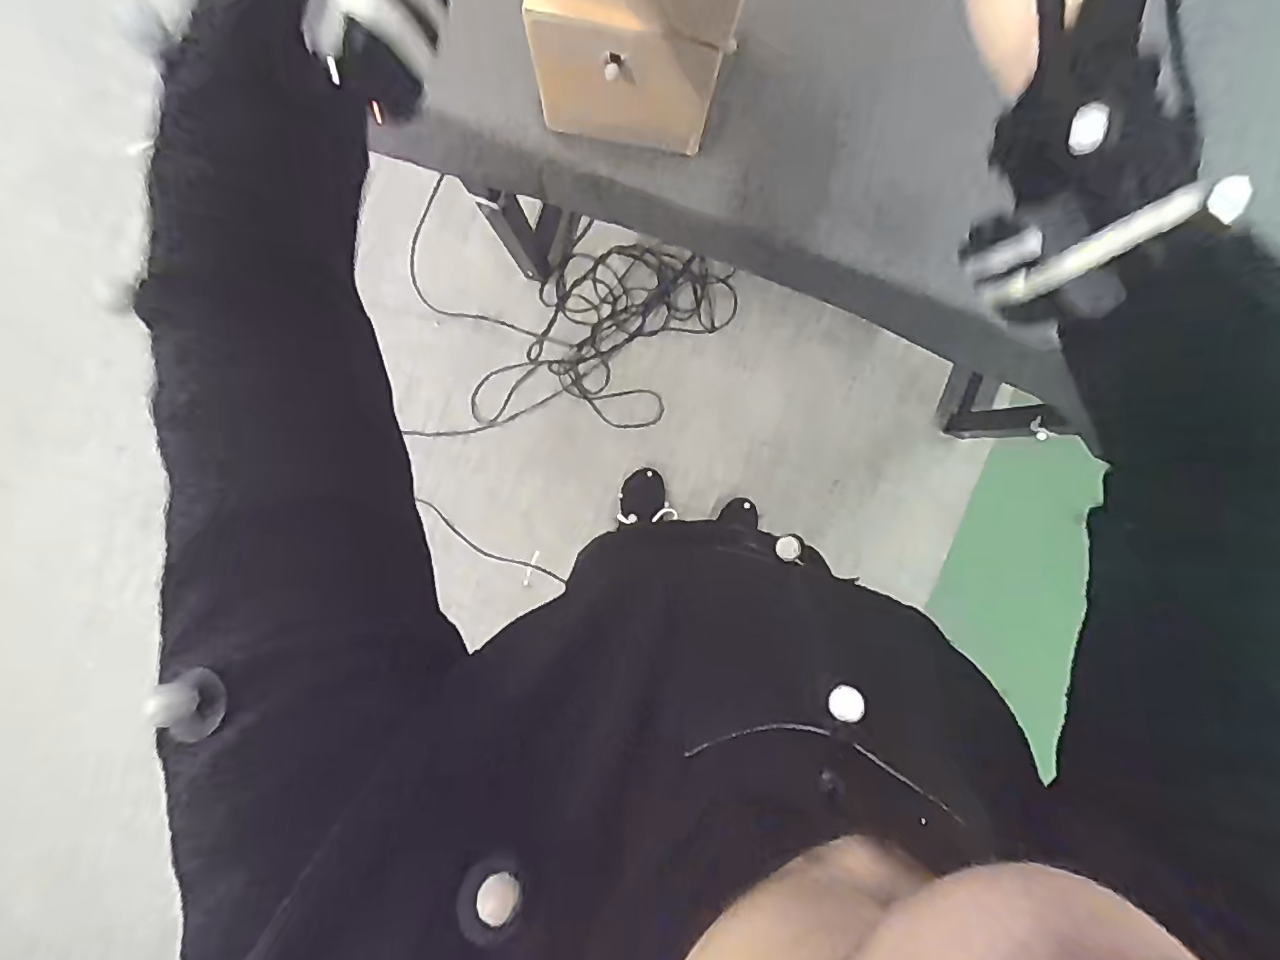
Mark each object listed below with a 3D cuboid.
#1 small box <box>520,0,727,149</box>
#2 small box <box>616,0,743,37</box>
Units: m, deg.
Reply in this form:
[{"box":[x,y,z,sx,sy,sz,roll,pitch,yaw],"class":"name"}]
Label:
[{"box":[-0.004,-0.460,0.530,0.179,0.176,0.168,10,93,-1],"class":"small box"},{"box":[0.018,-0.460,0.368,0.179,0.176,0.168,19,94,-3],"class":"small box"}]
